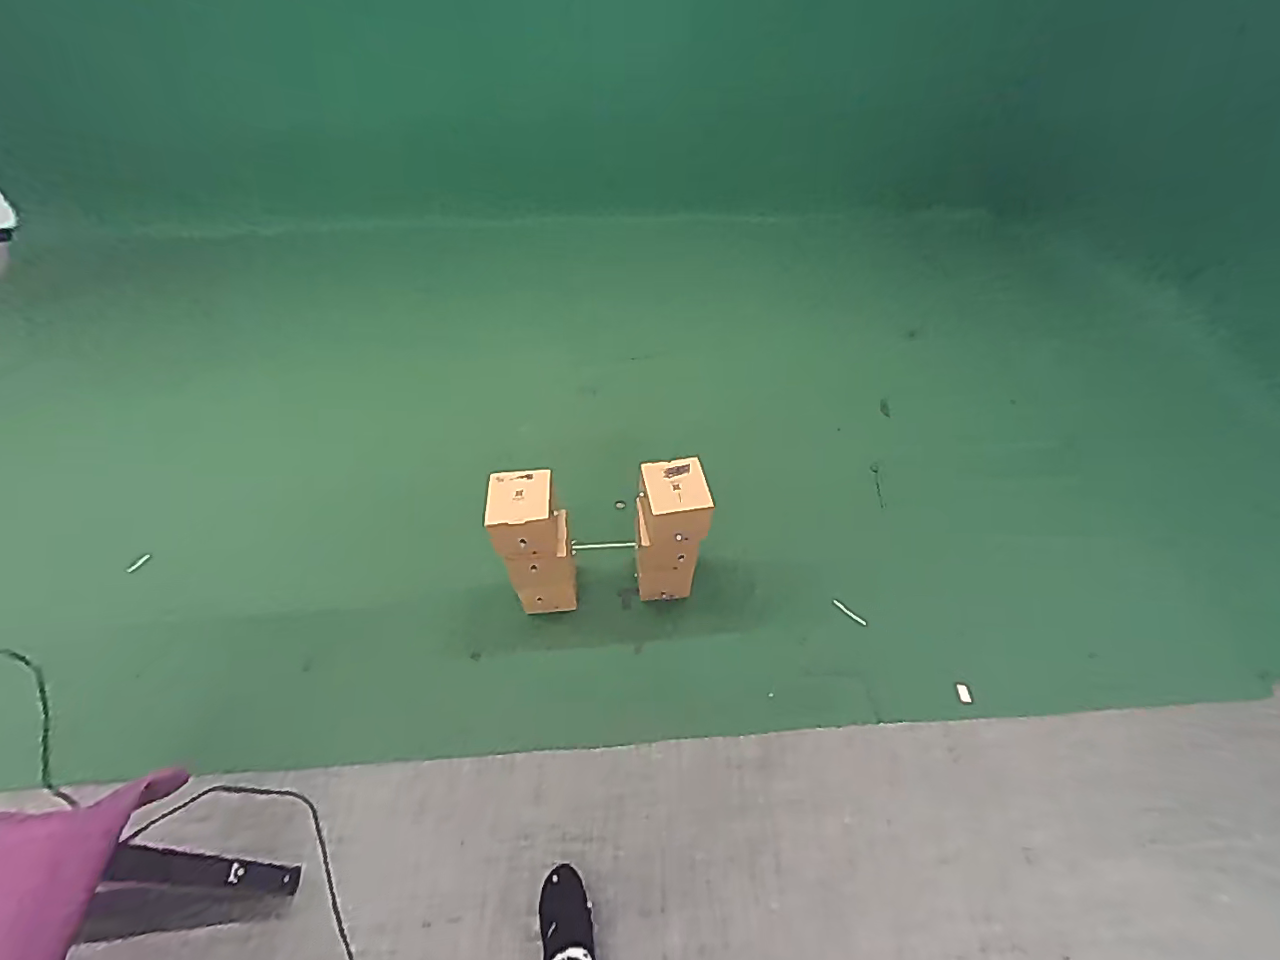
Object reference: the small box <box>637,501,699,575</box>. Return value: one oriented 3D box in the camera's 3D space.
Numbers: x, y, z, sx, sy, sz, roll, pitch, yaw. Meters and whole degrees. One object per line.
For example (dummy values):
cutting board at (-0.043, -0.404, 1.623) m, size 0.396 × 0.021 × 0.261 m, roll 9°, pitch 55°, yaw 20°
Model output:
small box at (0.080, 0.176, 1.635) m, size 0.168 × 0.176 × 0.179 m, roll -3°, pitch 51°, yaw -4°

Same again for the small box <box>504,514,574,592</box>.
small box at (-0.294, 0.220, 1.599) m, size 0.179 × 0.176 × 0.168 m, roll -5°, pitch 50°, yaw -4°

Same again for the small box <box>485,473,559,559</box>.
small box at (-0.315, 0.104, 1.482) m, size 0.168 × 0.176 × 0.179 m, roll -4°, pitch 50°, yaw -2°

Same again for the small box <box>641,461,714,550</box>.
small box at (0.097, 0.072, 1.510) m, size 0.168 × 0.176 × 0.179 m, roll -8°, pitch 53°, yaw -8°

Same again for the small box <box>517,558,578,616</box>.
small box at (-0.291, 0.322, 1.728) m, size 0.168 × 0.176 × 0.179 m, roll -5°, pitch 49°, yaw -3°
